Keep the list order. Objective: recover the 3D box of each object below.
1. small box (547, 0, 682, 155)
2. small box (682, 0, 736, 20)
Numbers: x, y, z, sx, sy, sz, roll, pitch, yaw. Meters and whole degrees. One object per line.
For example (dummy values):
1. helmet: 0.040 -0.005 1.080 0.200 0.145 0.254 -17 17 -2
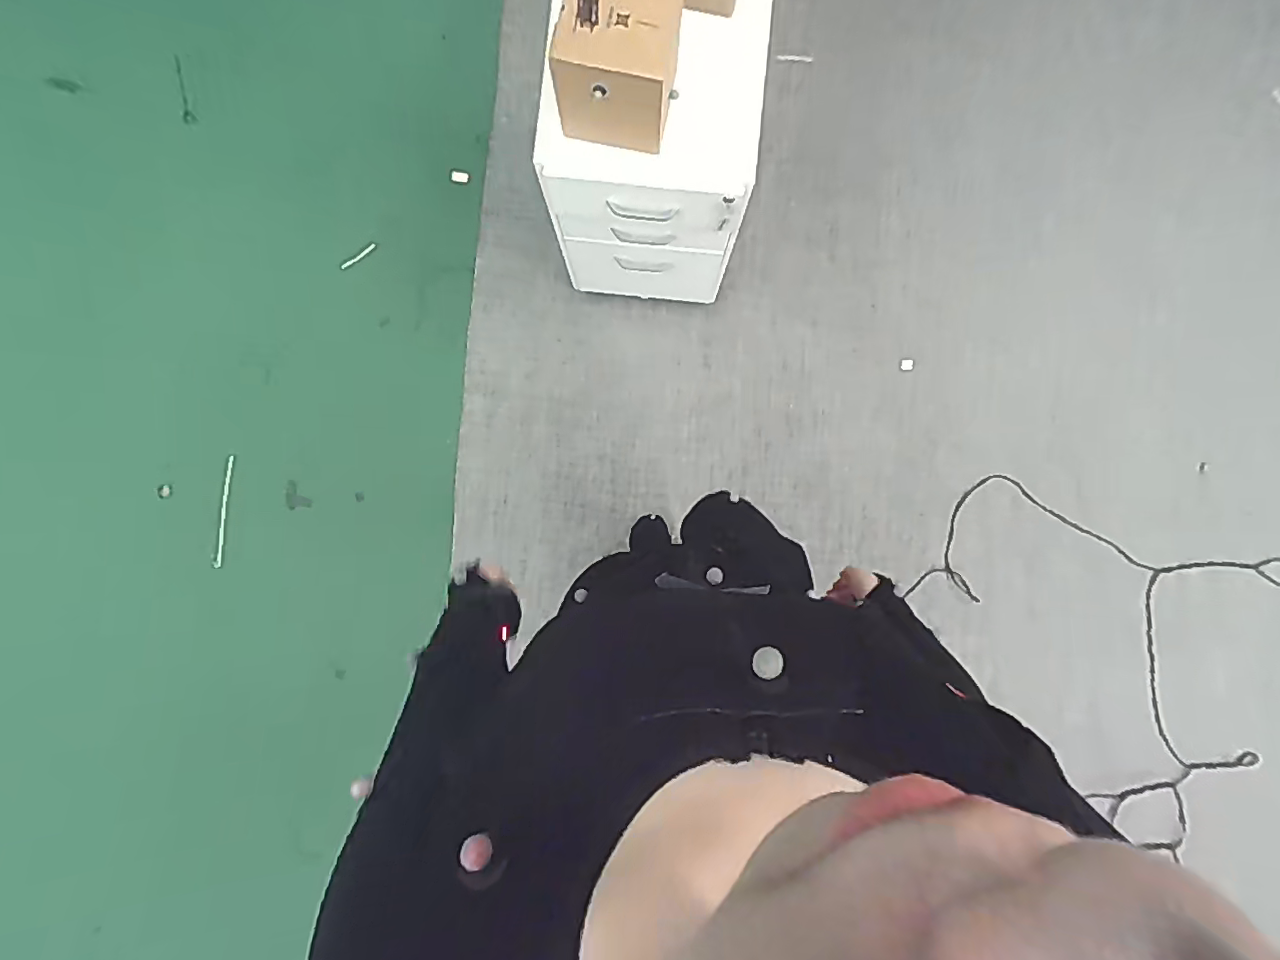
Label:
1. small box: -0.037 -0.668 0.881 0.179 0.176 0.168 12 86 0
2. small box: 0.095 -0.919 0.896 0.179 0.176 0.168 13 87 2
